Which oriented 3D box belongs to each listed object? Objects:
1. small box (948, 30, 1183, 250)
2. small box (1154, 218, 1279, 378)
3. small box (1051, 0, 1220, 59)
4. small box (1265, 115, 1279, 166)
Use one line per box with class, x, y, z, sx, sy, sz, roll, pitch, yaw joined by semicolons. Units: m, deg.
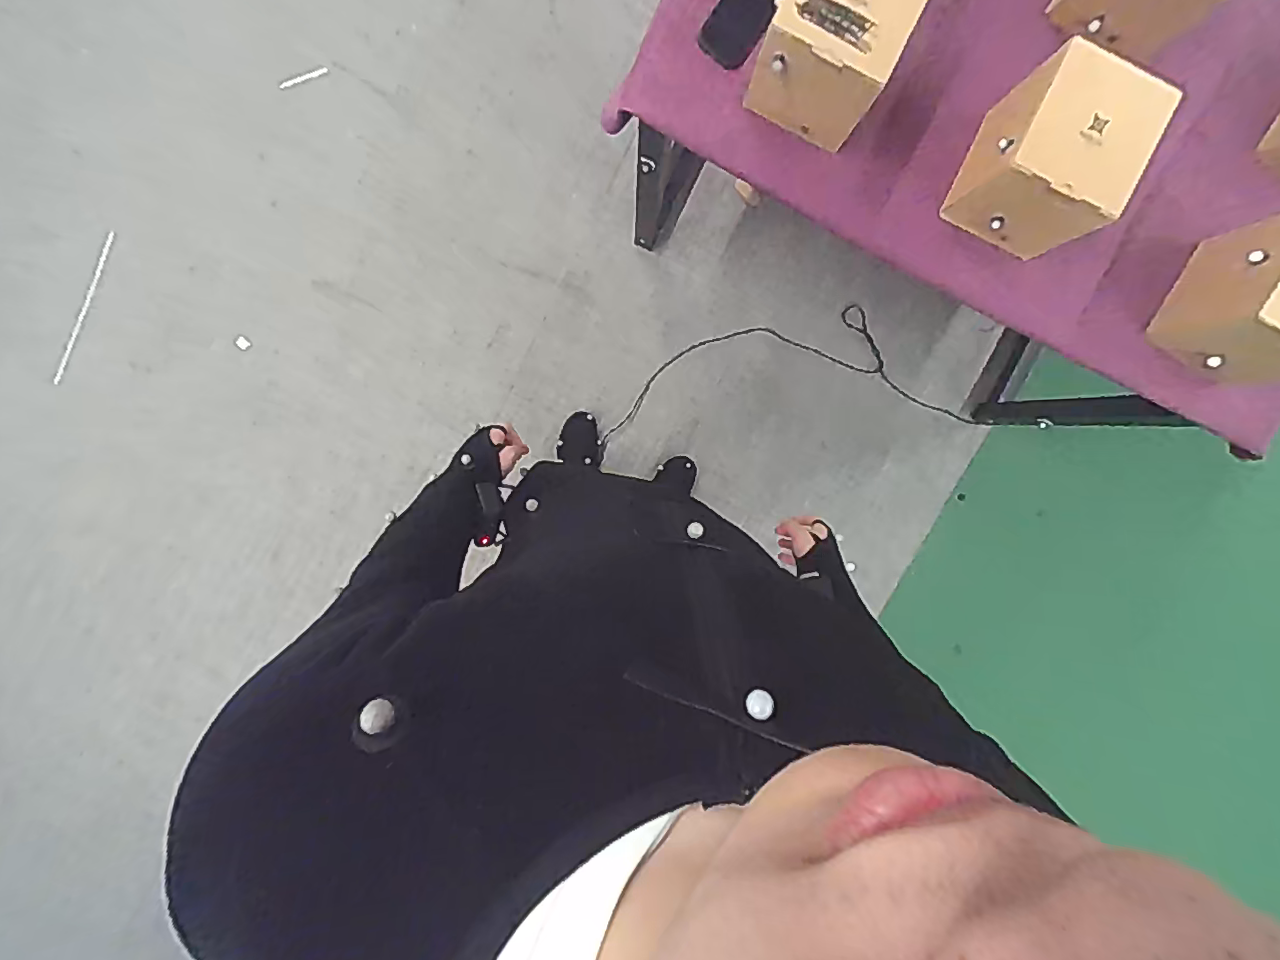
small box;0.585;-0.464;0.771;0.168;0.176;0.179;24;95;-4
small box;0.934;-0.269;0.795;0.168;0.176;0.179;29;95;-3
small box;0.727;-0.747;0.743;0.168;0.176;0.179;26;96;-3
small box;1.085;-0.547;0.771;0.168;0.176;0.179;29;95;-3
